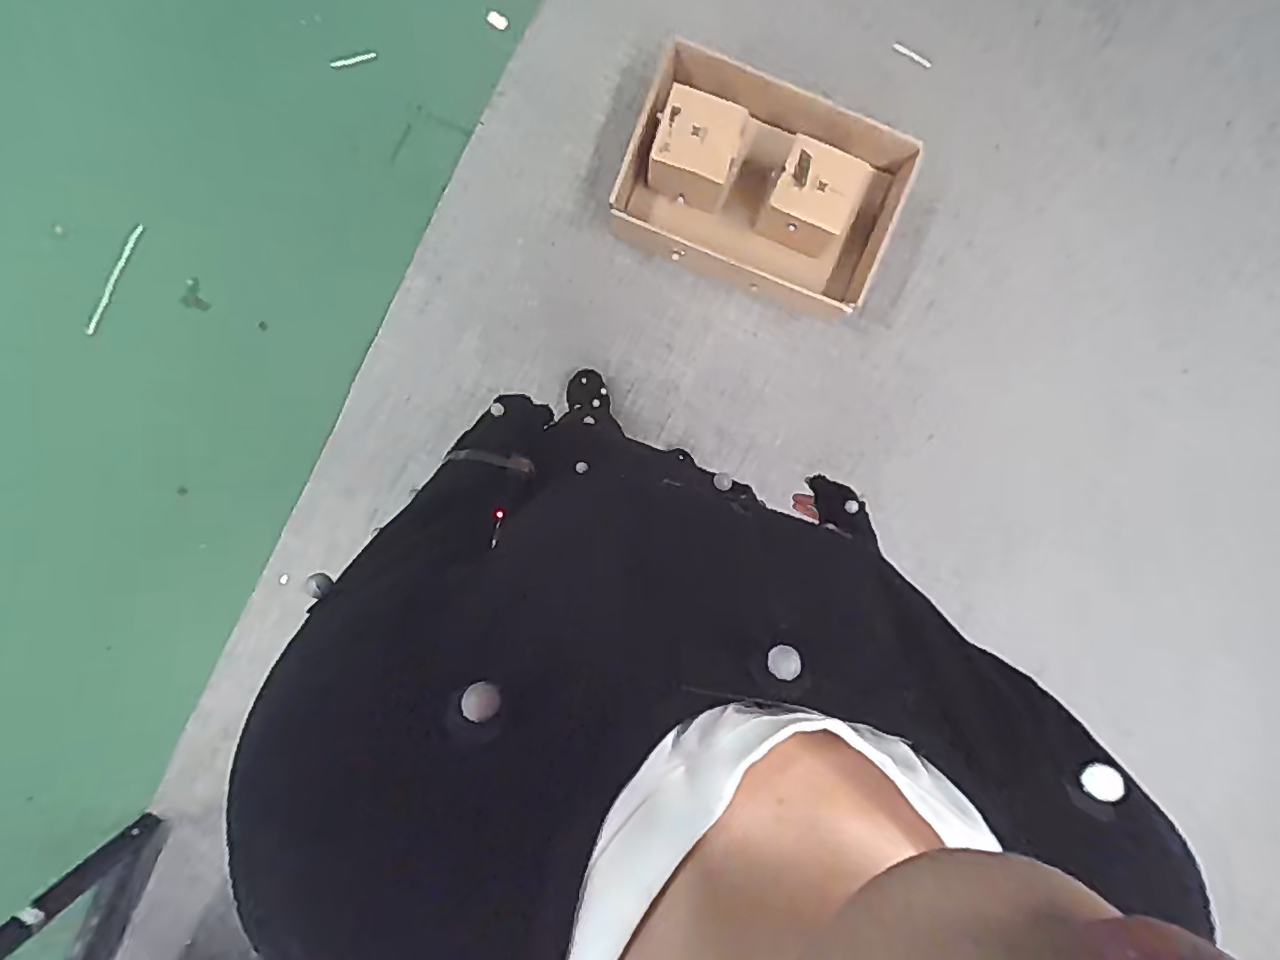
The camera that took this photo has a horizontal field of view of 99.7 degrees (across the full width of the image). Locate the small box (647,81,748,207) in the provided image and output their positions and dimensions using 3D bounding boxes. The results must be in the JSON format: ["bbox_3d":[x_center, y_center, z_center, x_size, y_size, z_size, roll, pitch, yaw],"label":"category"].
[{"bbox_3d":[0.125,-0.763,1.251,0.179,0.176,0.168,19,95,-4],"label":"small box"}]

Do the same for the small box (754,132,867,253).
[{"bbox_3d":[0.387,-0.659,1.264,0.179,0.176,0.168,23,95,-2],"label":"small box"}]
